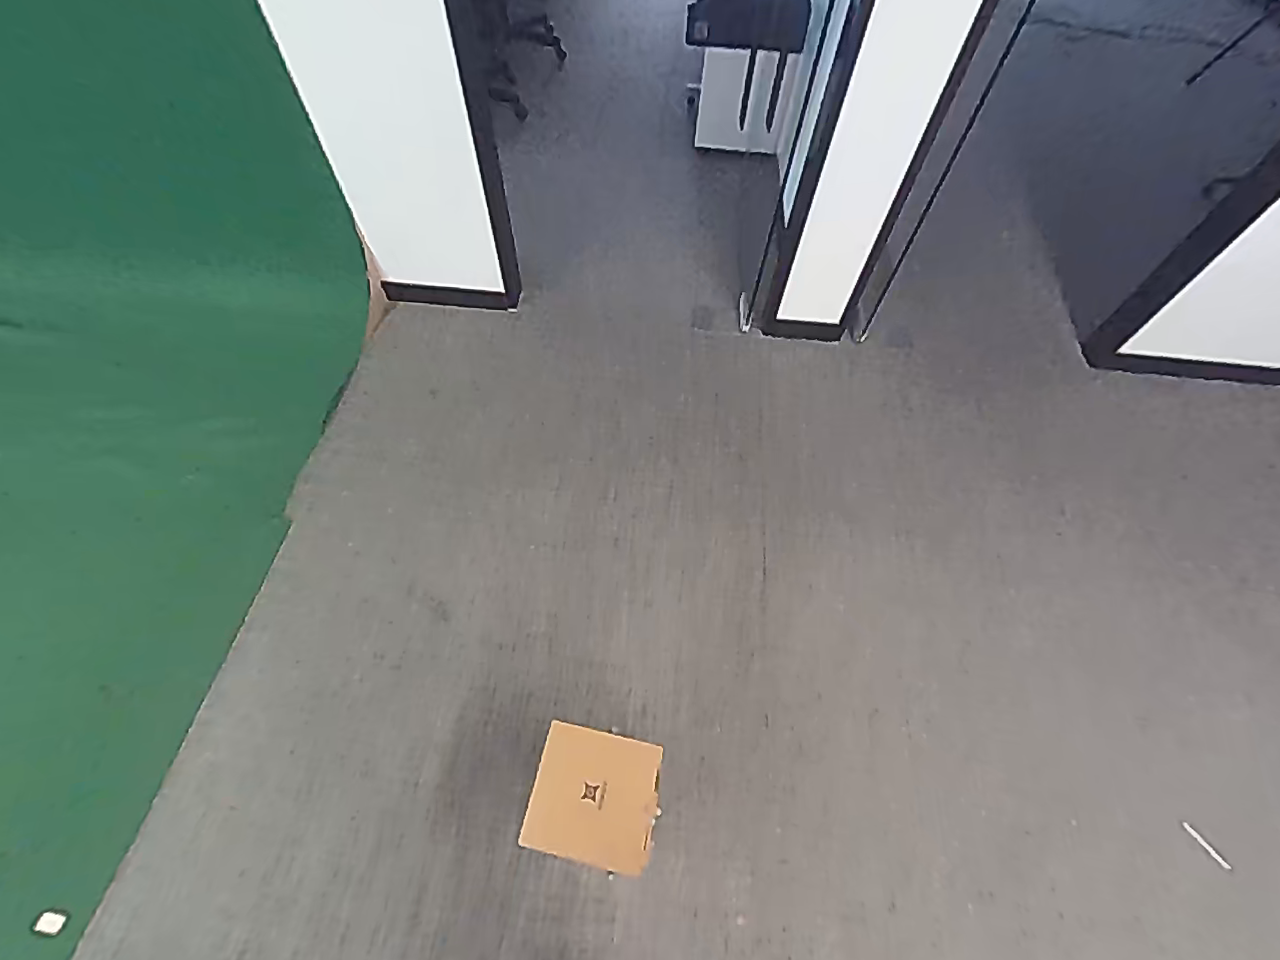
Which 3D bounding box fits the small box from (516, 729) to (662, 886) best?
[{"bbox_3d":[-0.071,0.507,0.840,0.179,0.176,0.168,12,57,5],"label":"small box"}]
